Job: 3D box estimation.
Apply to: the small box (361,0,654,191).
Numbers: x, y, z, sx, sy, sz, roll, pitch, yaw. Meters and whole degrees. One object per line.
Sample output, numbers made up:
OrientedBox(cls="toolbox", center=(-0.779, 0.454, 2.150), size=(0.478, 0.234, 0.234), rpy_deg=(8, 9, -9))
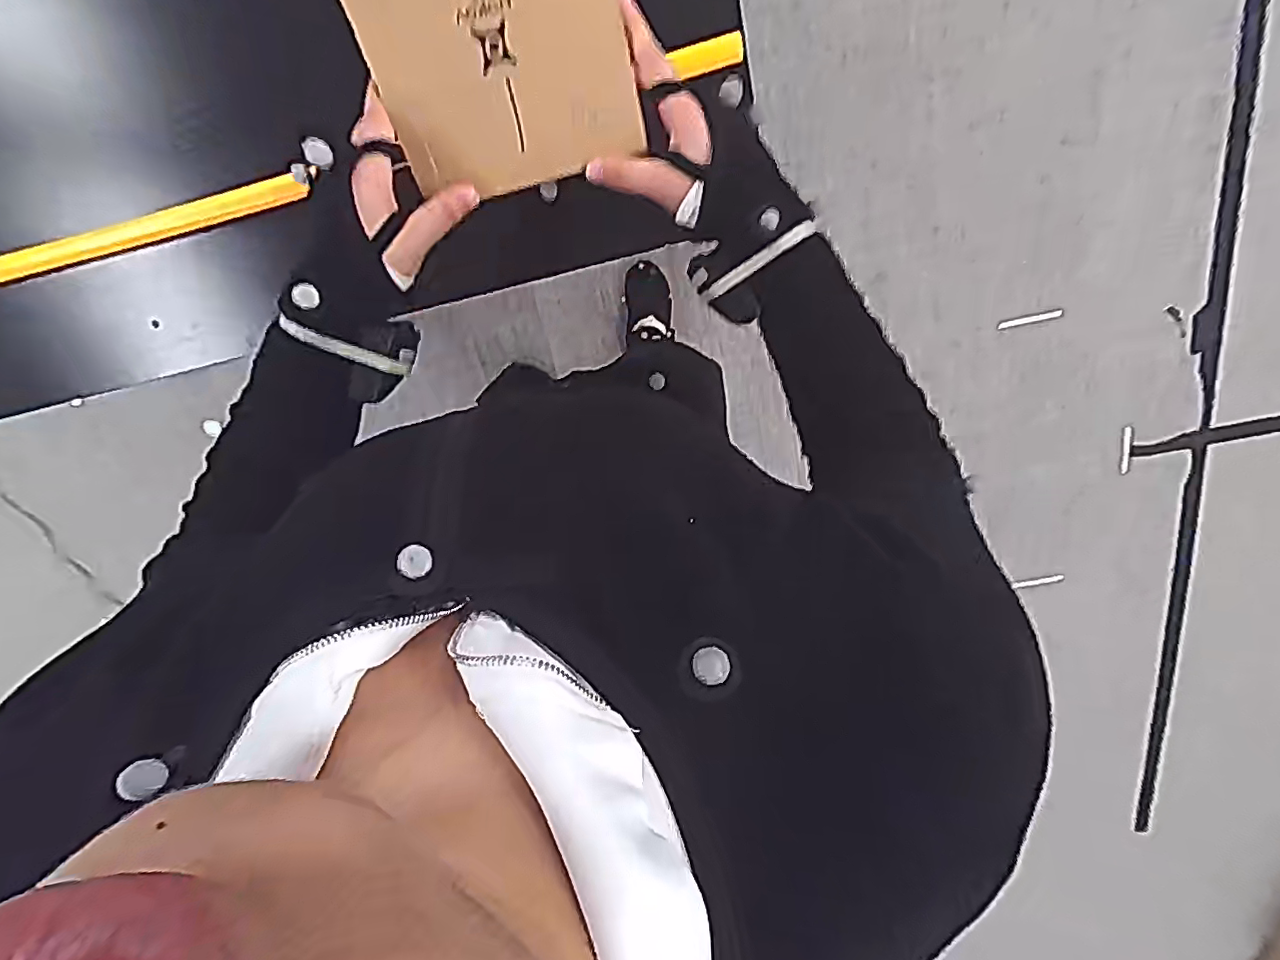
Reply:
OrientedBox(cls="small box", center=(-0.092, -0.335, 0.403), size=(0.168, 0.176, 0.179), rpy_deg=(-13, 122, 5))
